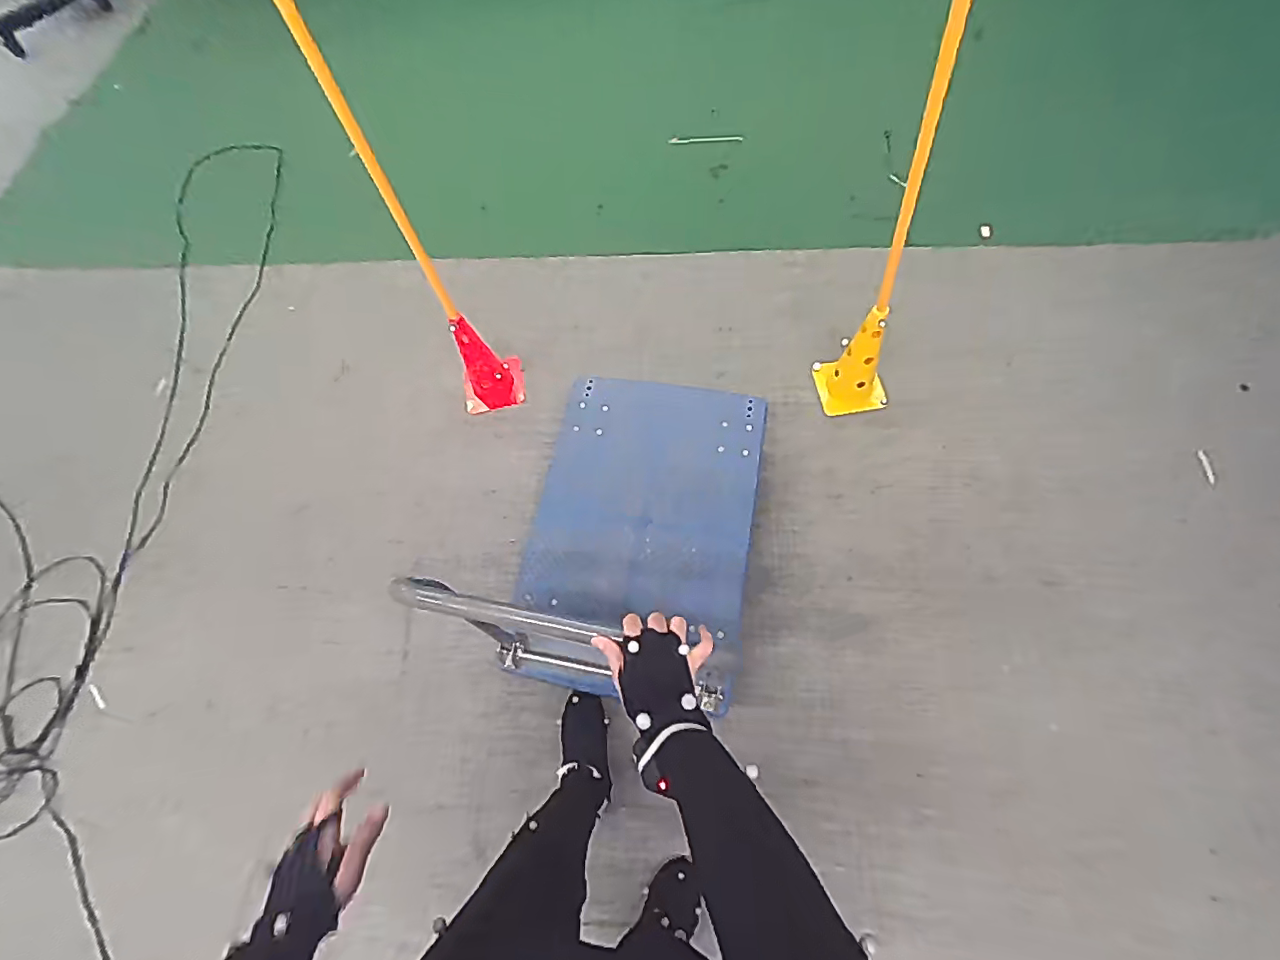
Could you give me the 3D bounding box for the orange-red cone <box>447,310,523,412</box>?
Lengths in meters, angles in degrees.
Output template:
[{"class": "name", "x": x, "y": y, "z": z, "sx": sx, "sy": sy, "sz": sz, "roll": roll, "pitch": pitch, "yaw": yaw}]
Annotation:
[{"class": "orange-red cone", "x": -0.522, "y": -0.401, "z": 1.715, "sx": 0.199, "sy": 0.360, "sz": 0.198, "roll": -12, "pitch": 65, "yaw": 2}]
